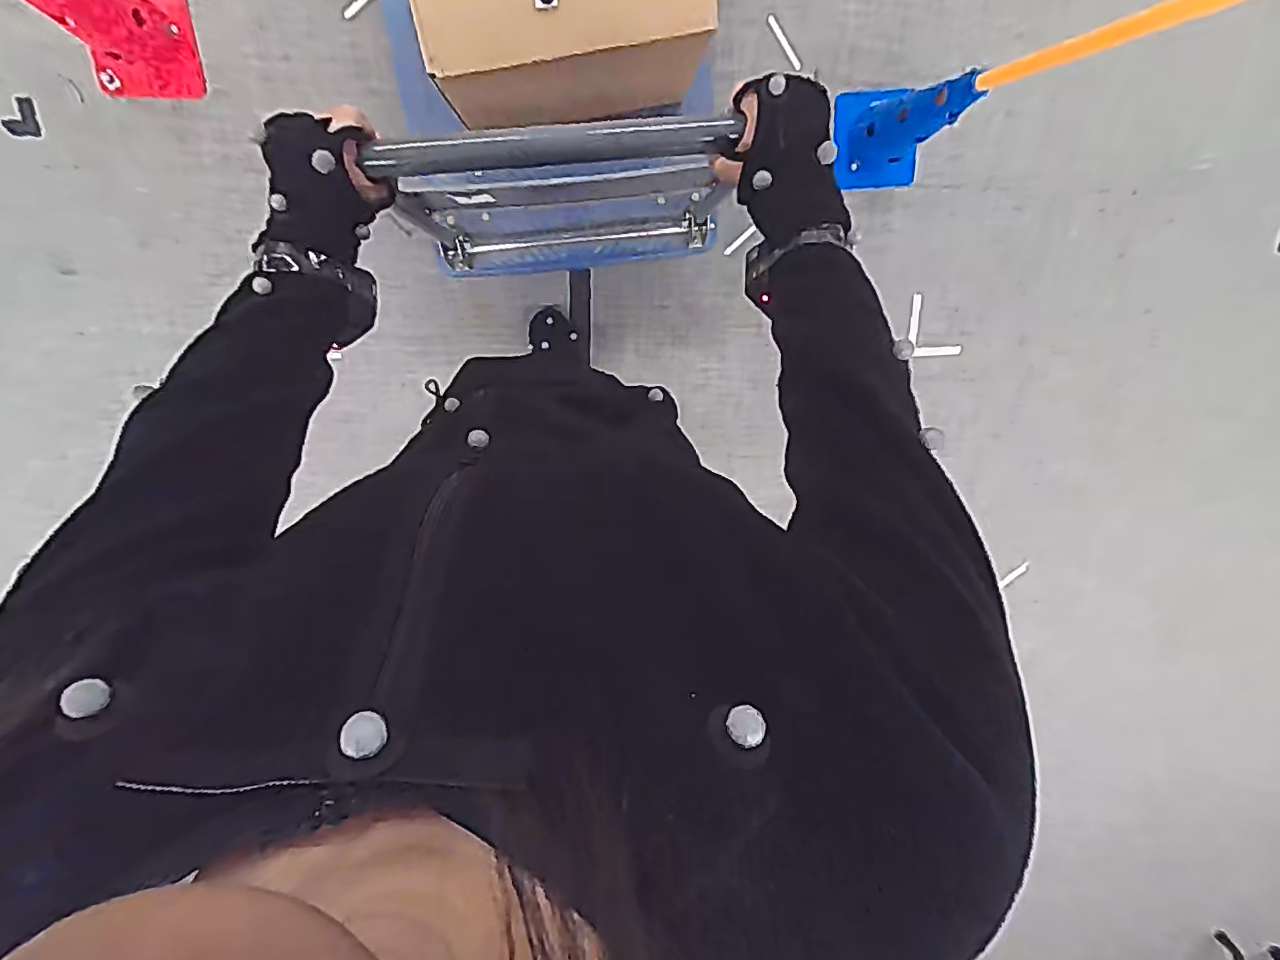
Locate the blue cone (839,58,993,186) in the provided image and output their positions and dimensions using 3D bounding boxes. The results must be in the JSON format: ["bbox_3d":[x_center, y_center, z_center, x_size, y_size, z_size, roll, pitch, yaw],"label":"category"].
[{"bbox_3d":[0.568,-0.742,1.098,0.193,0.380,0.192,-5,108,-4],"label":"blue cone"}]
